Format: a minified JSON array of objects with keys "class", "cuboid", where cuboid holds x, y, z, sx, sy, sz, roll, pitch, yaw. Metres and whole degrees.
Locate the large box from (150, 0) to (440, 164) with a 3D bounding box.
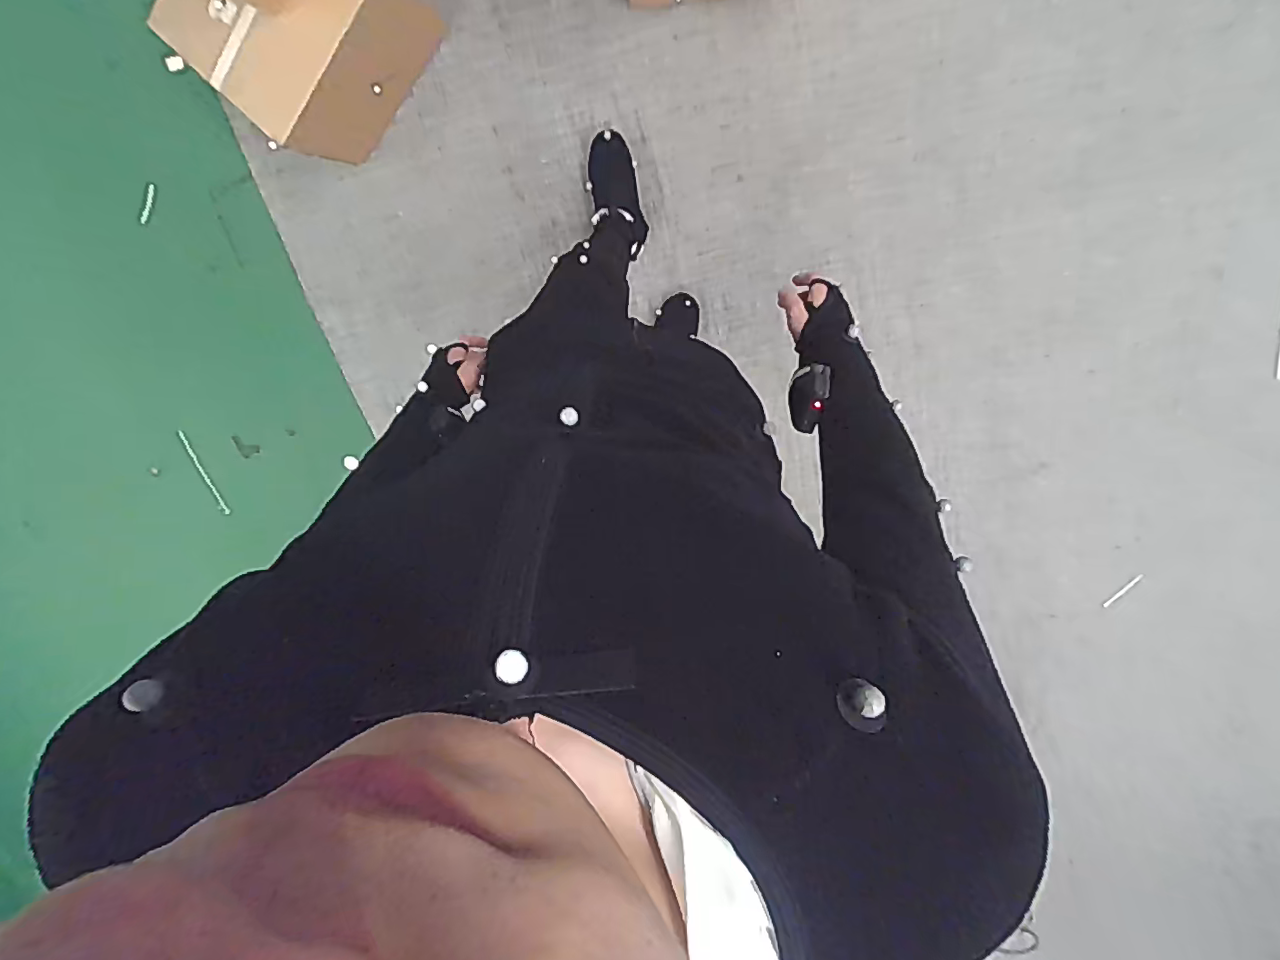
[{"class":"large box","cuboid":[-0.714,-0.980,1.166,0.320,0.320,0.408,43,112,-12]}]
